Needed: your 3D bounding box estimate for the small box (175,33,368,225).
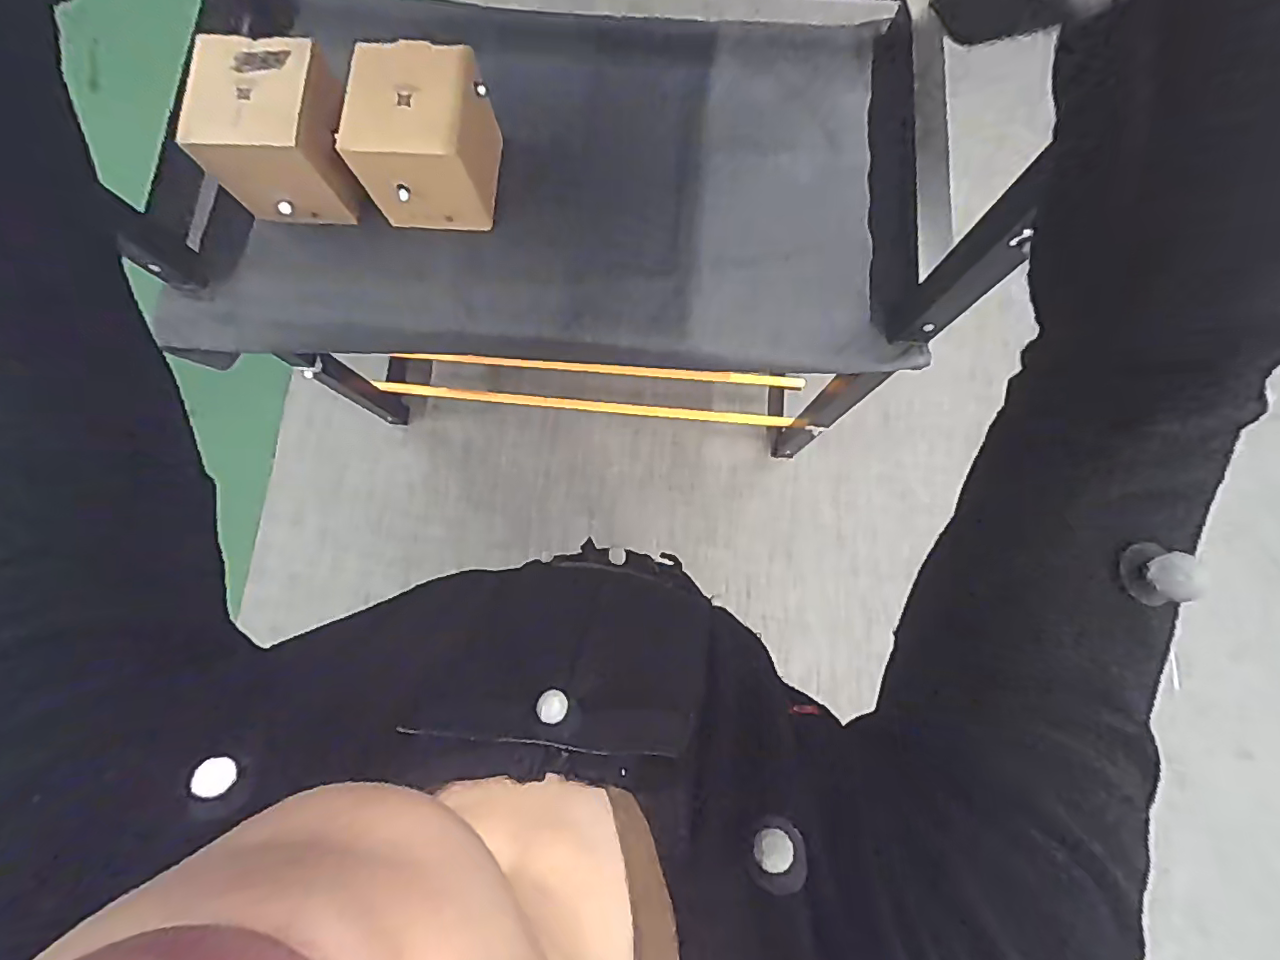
[{"bbox_3d":[-0.537,-0.519,0.816,0.168,0.176,0.179,2,80,1],"label":"small box"}]
